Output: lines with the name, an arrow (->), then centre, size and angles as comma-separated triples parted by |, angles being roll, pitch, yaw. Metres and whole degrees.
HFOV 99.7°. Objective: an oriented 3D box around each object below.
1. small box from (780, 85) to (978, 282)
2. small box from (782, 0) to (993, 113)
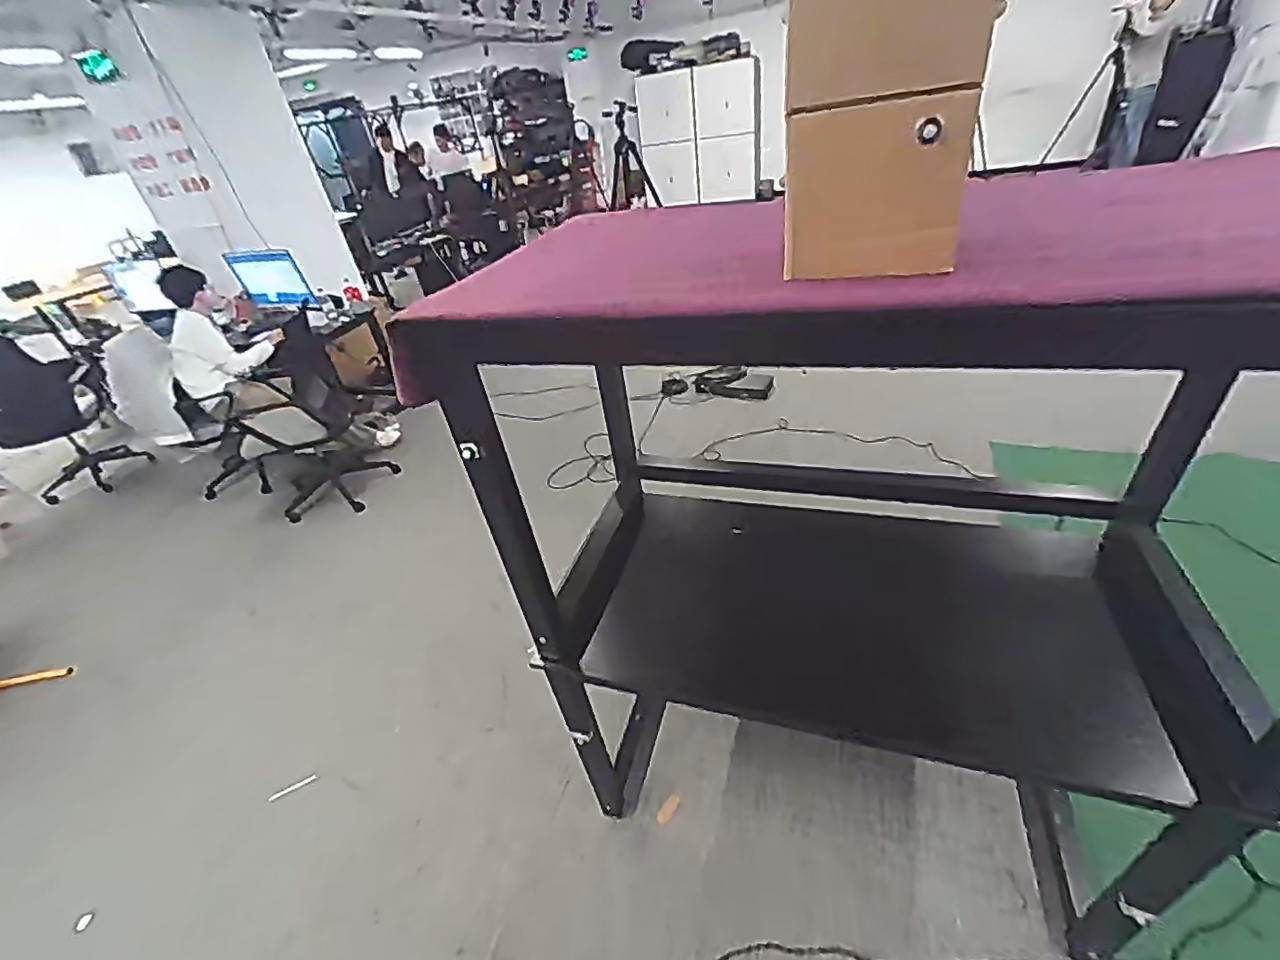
small box -> 0.257, -0.331, 0.614 | 0.179, 0.176, 0.168 | 5, 37, 19
small box -> 0.236, -0.466, 0.522 | 0.179, 0.176, 0.168 | 6, 37, 20
